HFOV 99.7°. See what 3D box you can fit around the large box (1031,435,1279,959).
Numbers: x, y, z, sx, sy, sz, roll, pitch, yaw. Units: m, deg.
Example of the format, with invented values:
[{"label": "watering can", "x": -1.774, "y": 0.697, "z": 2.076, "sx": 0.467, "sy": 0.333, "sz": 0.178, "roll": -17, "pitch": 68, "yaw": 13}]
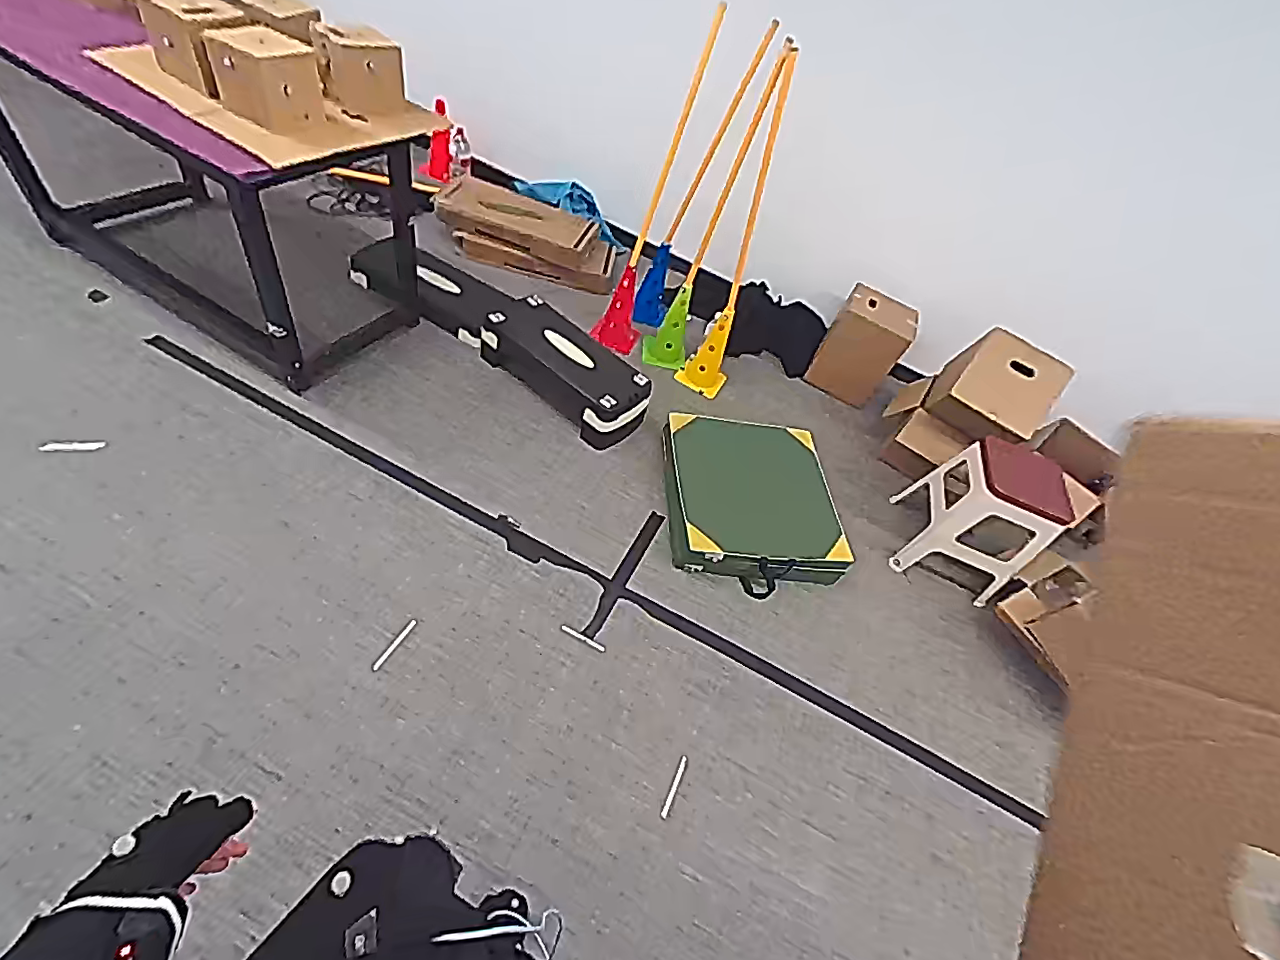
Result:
[{"label": "large box", "x": 0.508, "y": 0.193, "z": 0.355, "sx": 0.320, "sy": 0.408, "sz": 0.320, "roll": 3, "pitch": 8, "yaw": -43}]
